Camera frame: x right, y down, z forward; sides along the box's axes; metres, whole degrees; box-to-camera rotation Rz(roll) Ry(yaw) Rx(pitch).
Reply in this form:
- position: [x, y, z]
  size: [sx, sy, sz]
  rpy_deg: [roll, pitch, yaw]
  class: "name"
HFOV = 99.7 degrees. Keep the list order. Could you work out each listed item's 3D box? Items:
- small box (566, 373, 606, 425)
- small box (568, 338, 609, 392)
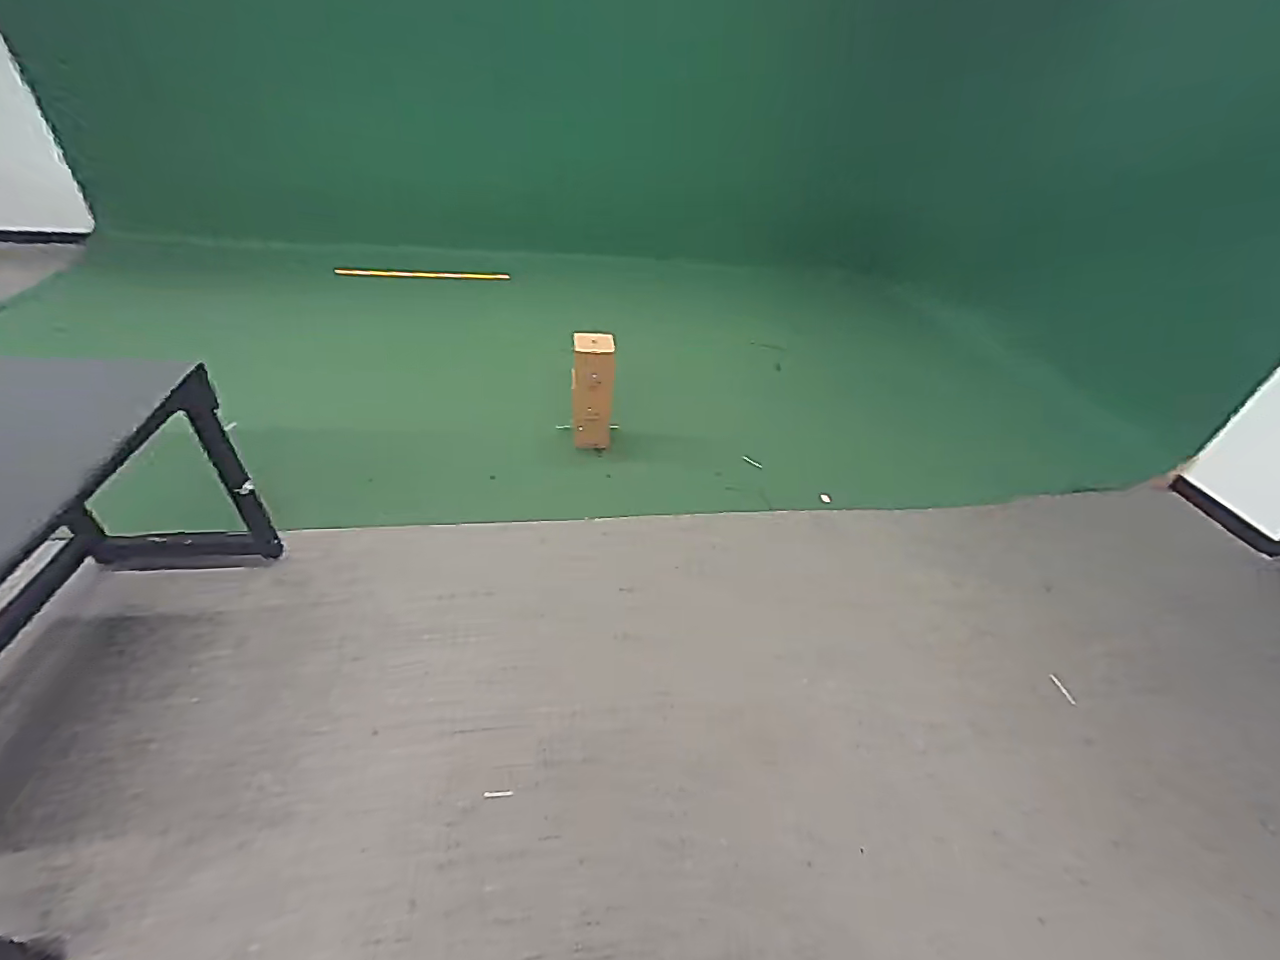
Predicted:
- position: [-0.249, -0.369, 2.447]
  size: [0.168, 0.176, 0.179]
  rpy_deg: [-1, 39, -11]
  class: "small box"
- position: [-0.226, -0.501, 2.350]
  size: [0.168, 0.176, 0.179]
  rpy_deg: [0, 39, -9]
  class: "small box"
